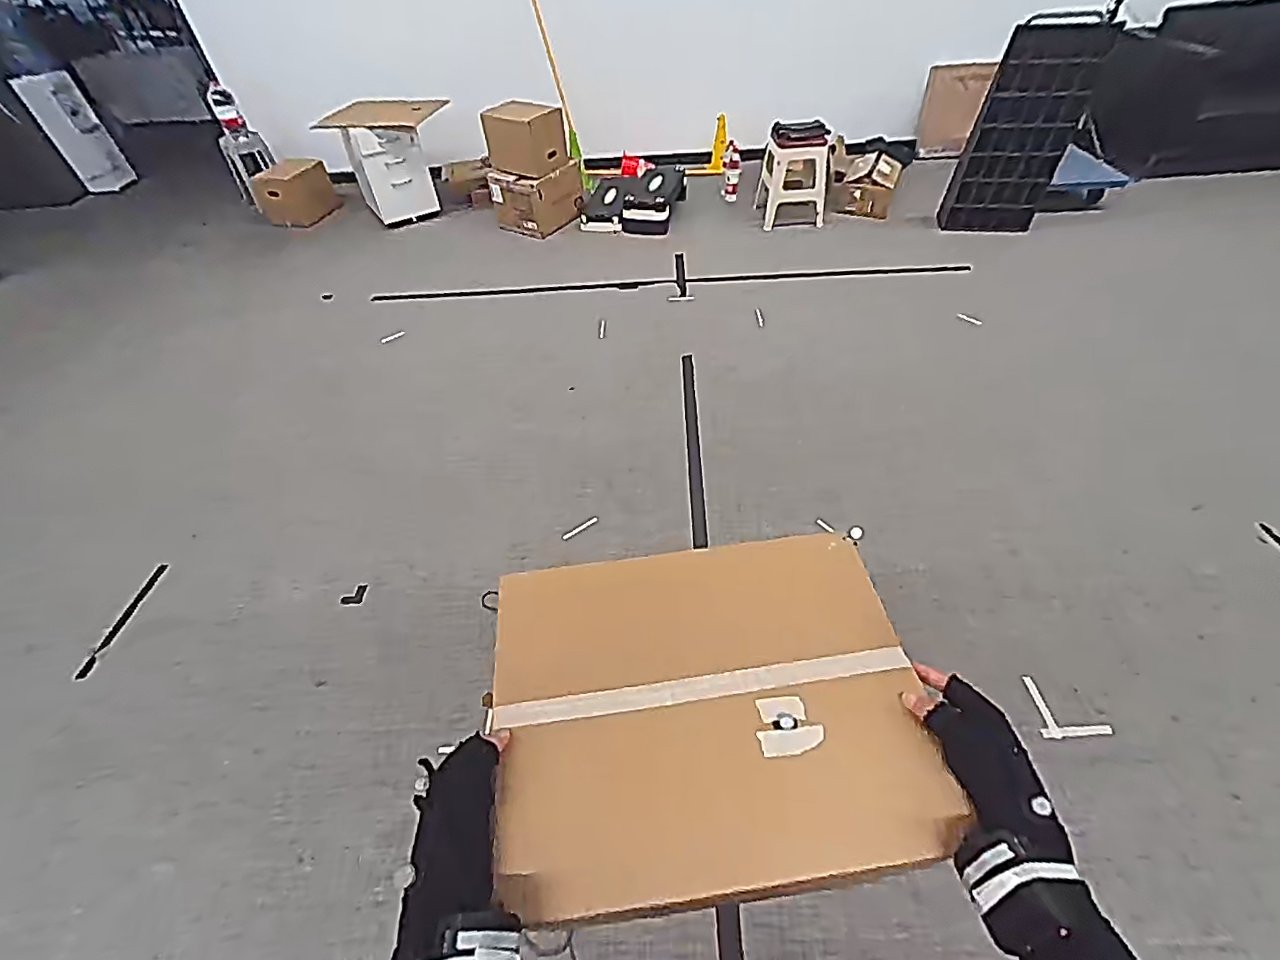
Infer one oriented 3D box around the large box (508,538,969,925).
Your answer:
[{"bbox_3d":[0.072,0.307,0.656,0.408,0.320,0.320,-7,51,-3],"label":"large box"}]
